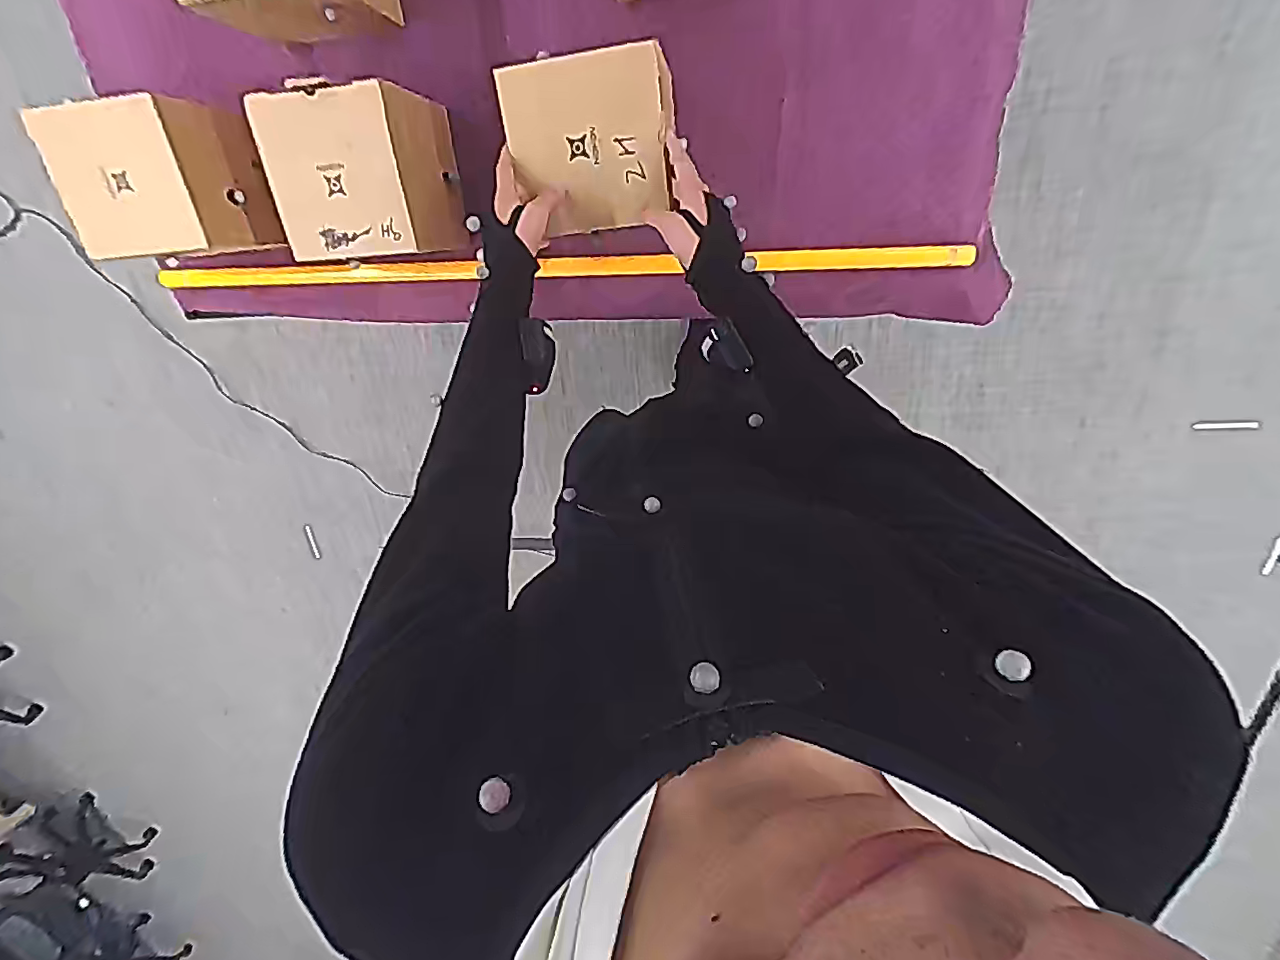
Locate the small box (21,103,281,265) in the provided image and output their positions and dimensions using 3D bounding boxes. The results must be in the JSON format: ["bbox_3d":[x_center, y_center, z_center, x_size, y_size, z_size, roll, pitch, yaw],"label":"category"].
[{"bbox_3d":[-0.624,-0.386,0.725,0.179,0.176,0.168,-1,114,8],"label":"small box"}]

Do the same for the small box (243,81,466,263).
[{"bbox_3d":[-0.346,-0.379,0.693,0.168,0.176,0.179,0,114,9],"label":"small box"}]

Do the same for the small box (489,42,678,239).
[{"bbox_3d":[-0.053,-0.388,0.647,0.179,0.176,0.168,-3,116,10],"label":"small box"}]
